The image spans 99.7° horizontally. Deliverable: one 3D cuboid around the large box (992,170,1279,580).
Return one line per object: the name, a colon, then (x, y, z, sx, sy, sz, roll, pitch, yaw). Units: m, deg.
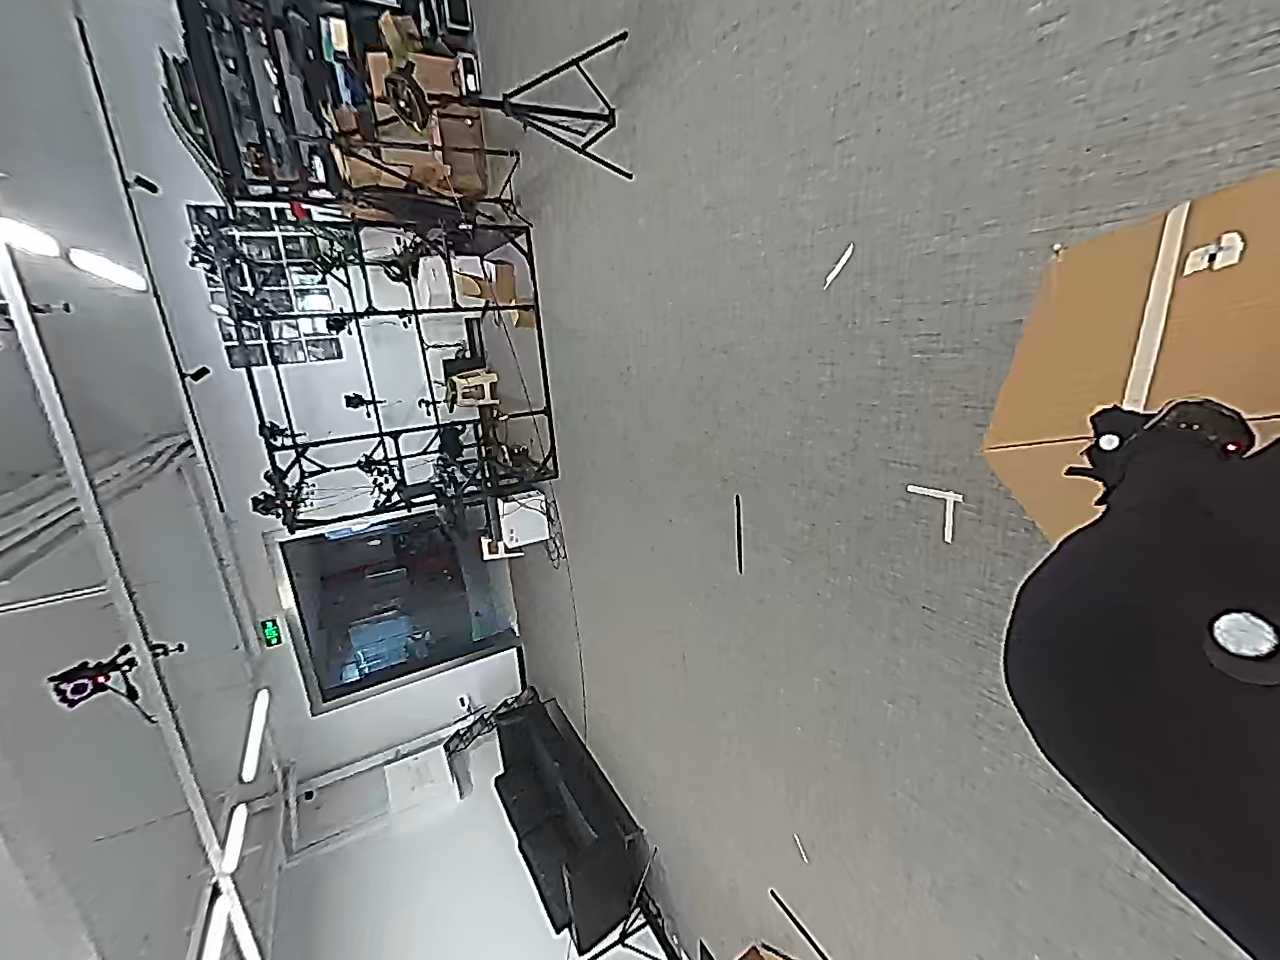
large box: (0.743, -0.119, 0.710, 0.320, 0.408, 0.320, 41, 158, -22)
